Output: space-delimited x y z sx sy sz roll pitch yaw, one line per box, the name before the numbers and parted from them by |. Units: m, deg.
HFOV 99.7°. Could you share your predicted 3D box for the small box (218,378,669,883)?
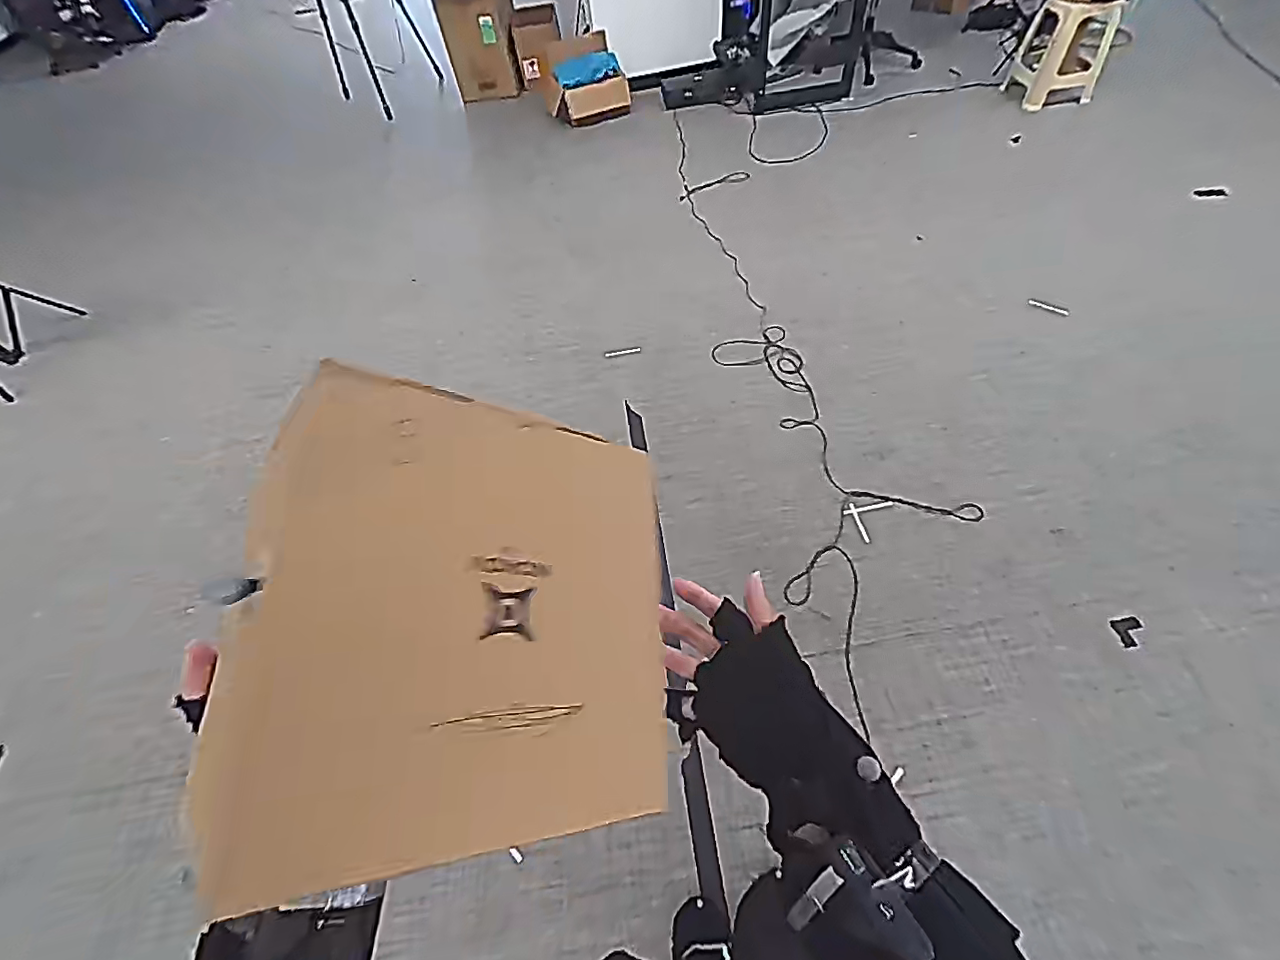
small box | -0.102 0.078 0.292 0.176 0.168 0.179 -22 60 45
